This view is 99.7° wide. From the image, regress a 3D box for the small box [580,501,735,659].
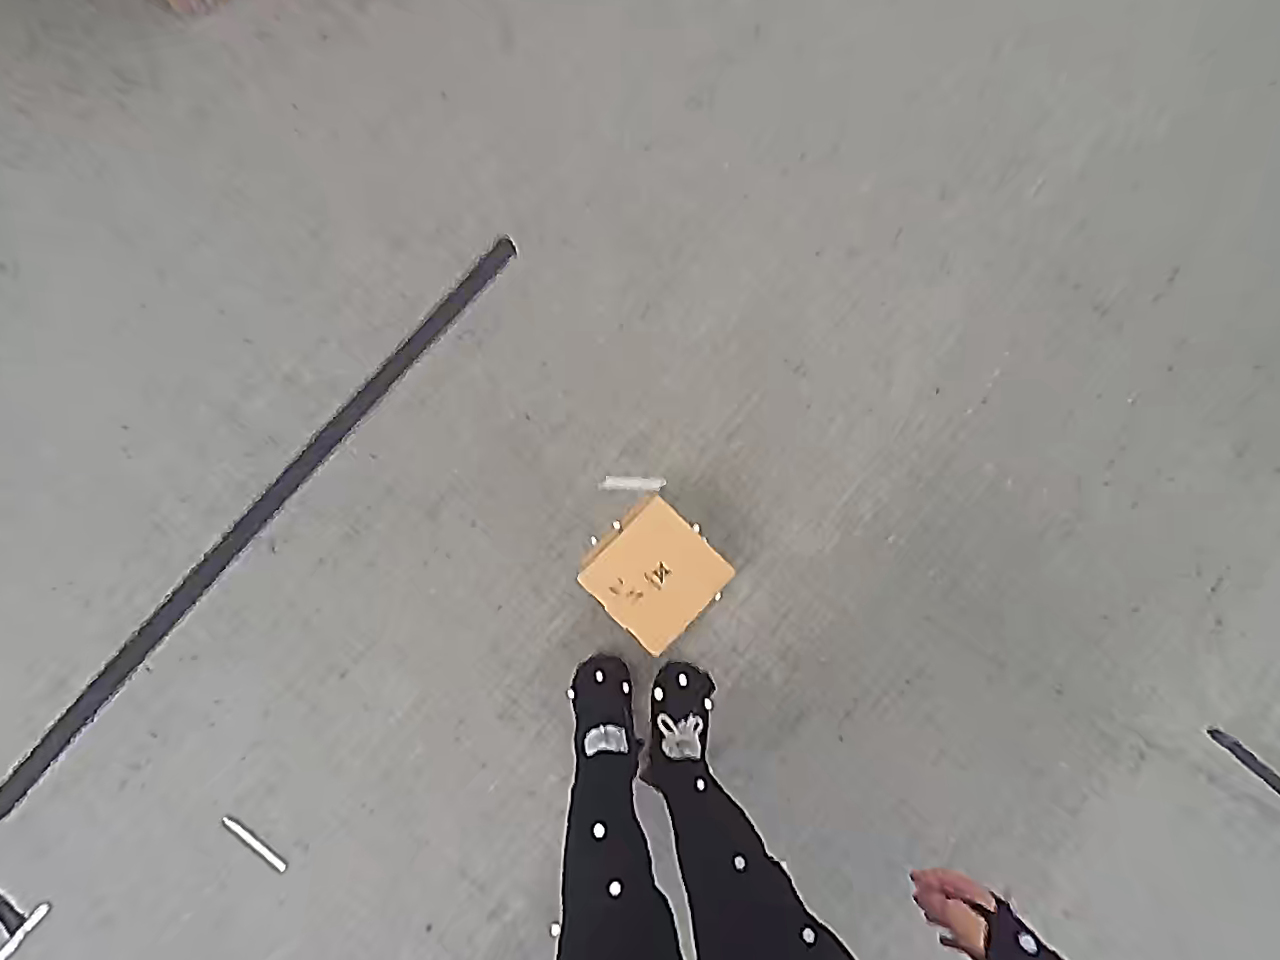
[{"bbox_3d":[0.022,0.149,0.874,0.168,0.176,0.179,45,87,0],"label":"small box"}]
